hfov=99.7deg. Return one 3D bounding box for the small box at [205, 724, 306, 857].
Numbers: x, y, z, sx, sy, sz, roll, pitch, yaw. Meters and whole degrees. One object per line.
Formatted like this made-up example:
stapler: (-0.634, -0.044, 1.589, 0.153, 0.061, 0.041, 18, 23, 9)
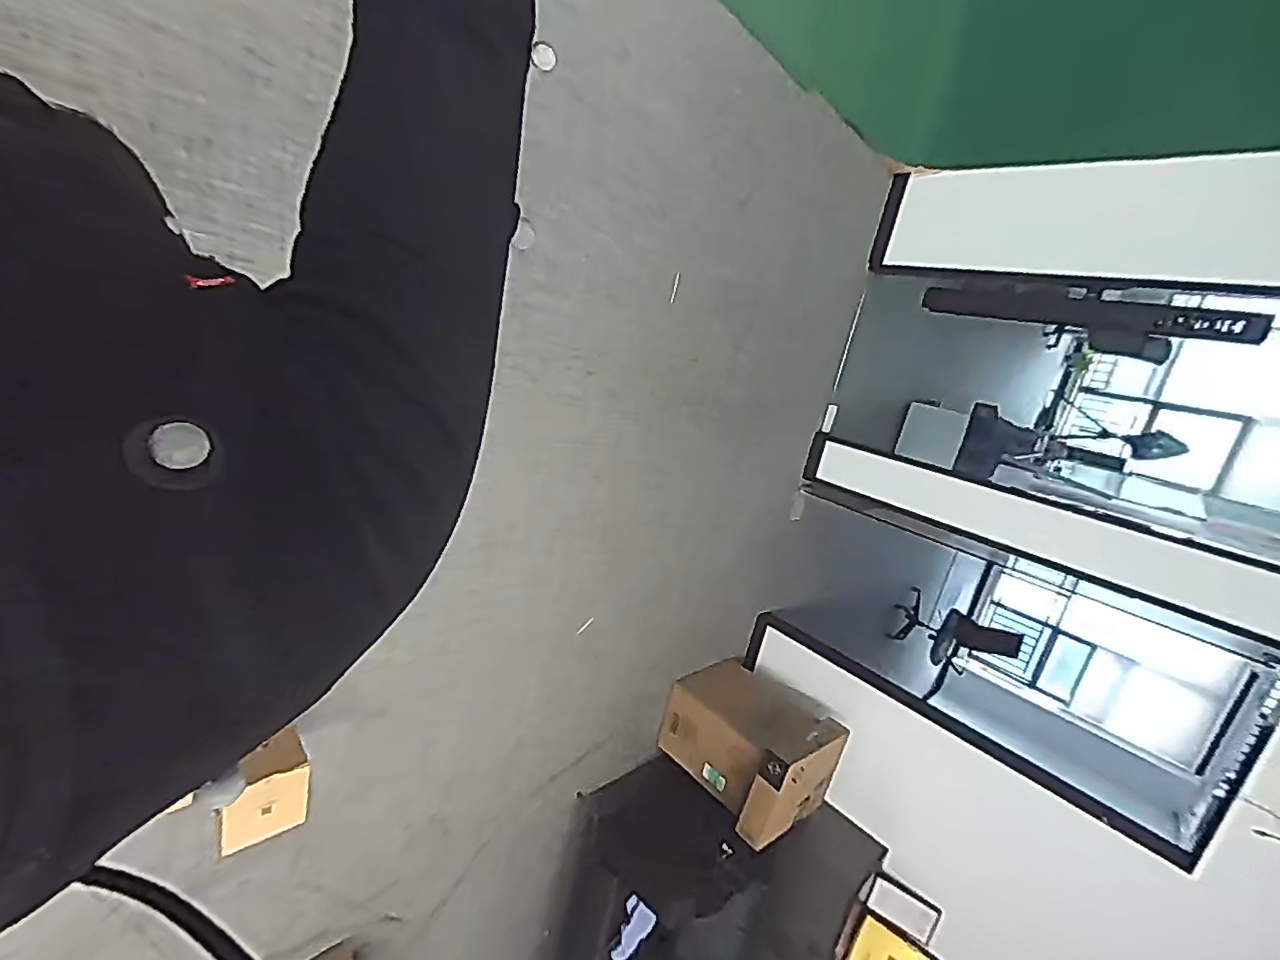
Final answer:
small box: (-0.908, 0.719, 1.273, 0.168, 0.176, 0.179, -3, 110, -45)
